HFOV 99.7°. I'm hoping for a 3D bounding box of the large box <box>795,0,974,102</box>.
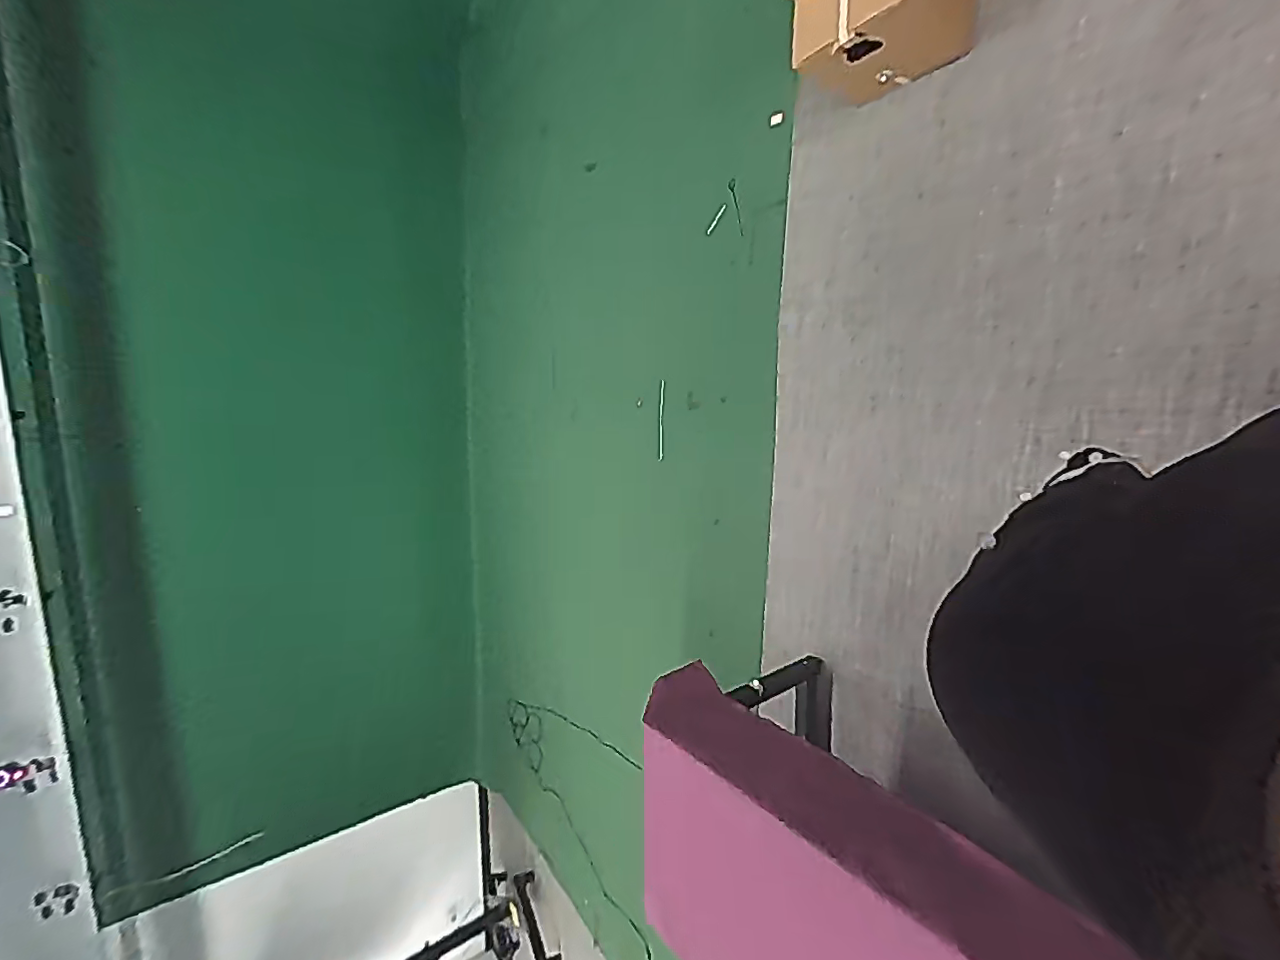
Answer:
[{"bbox_3d":[0.620,-1.279,1.362,0.320,0.320,0.408,12,103,53],"label":"large box"}]
